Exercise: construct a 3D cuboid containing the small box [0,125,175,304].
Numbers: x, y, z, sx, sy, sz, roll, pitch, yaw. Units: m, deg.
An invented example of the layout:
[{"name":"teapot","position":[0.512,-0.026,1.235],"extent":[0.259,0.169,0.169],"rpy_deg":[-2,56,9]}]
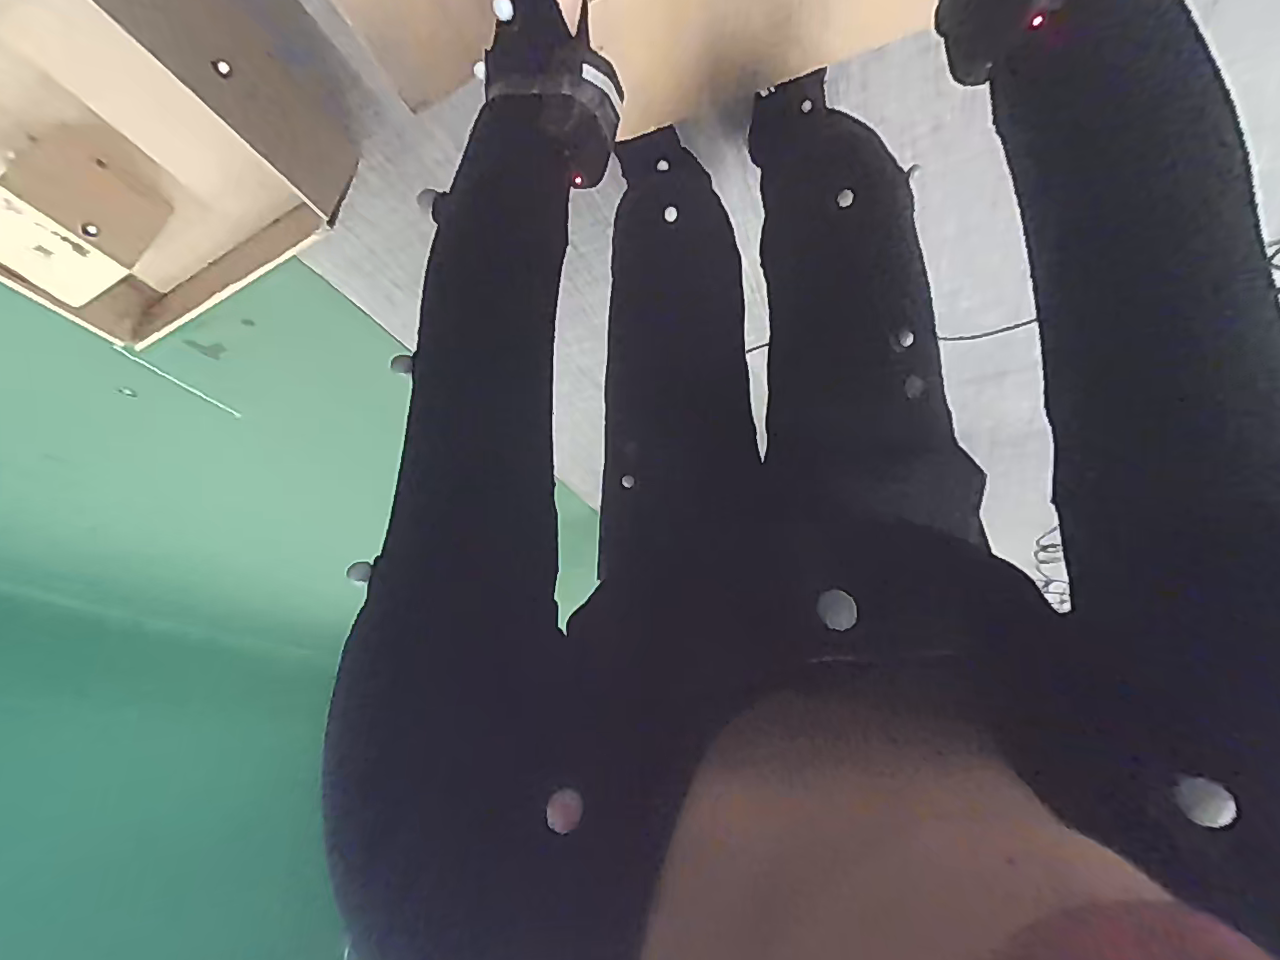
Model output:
[{"name":"small box","position":[-0.924,-0.431,0.886],"extent":[0.179,0.176,0.168],"rpy_deg":[-14,145,23]}]
